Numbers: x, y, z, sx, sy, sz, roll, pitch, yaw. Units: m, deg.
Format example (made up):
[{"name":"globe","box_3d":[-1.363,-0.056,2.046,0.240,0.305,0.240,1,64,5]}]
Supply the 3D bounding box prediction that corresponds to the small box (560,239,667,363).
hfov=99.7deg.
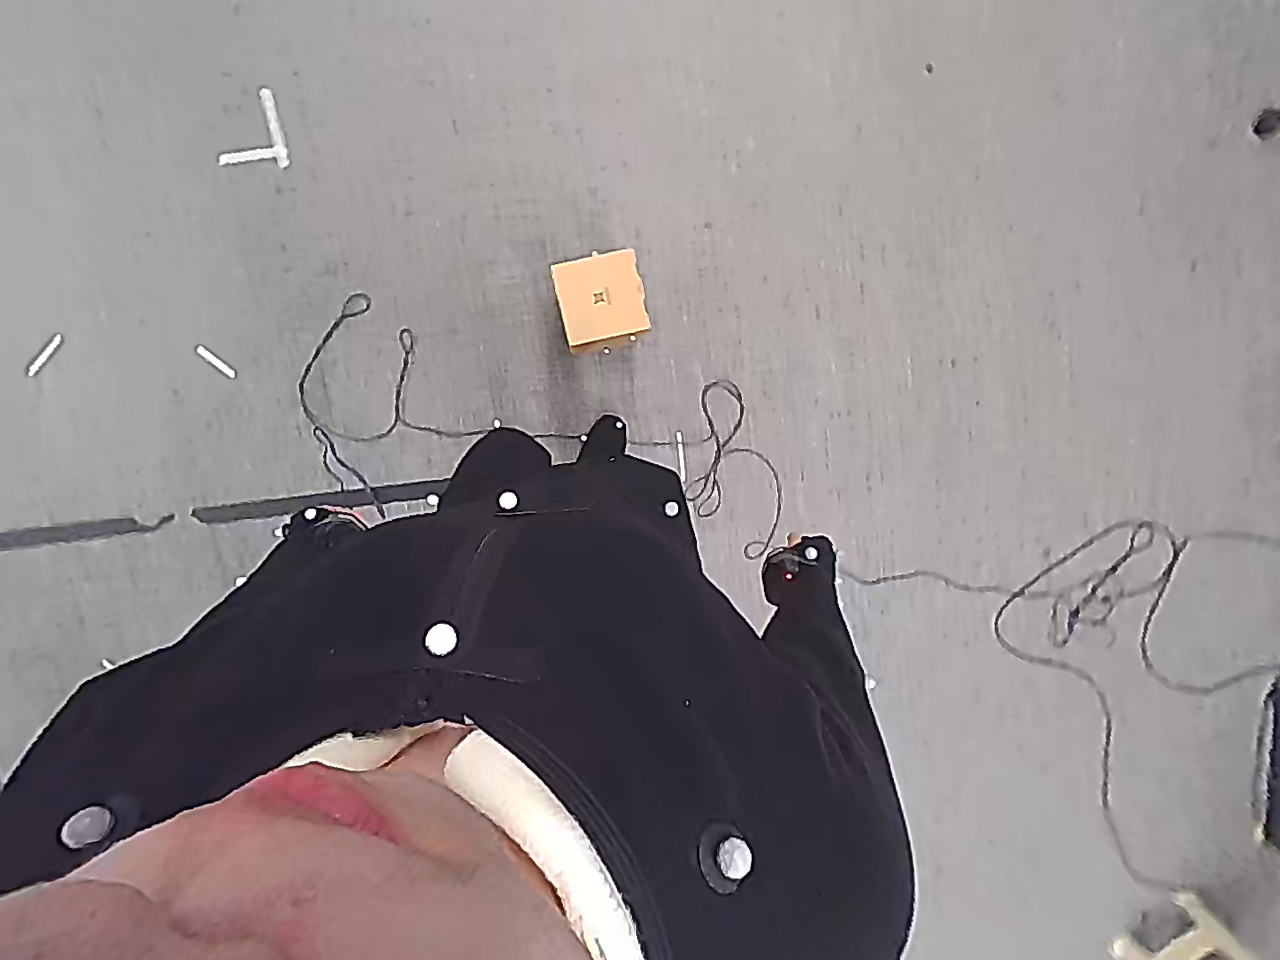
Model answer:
[{"name":"small box","box_3d":[-0.057,-0.377,1.149,0.168,0.176,0.179,-17,82,-20]}]
